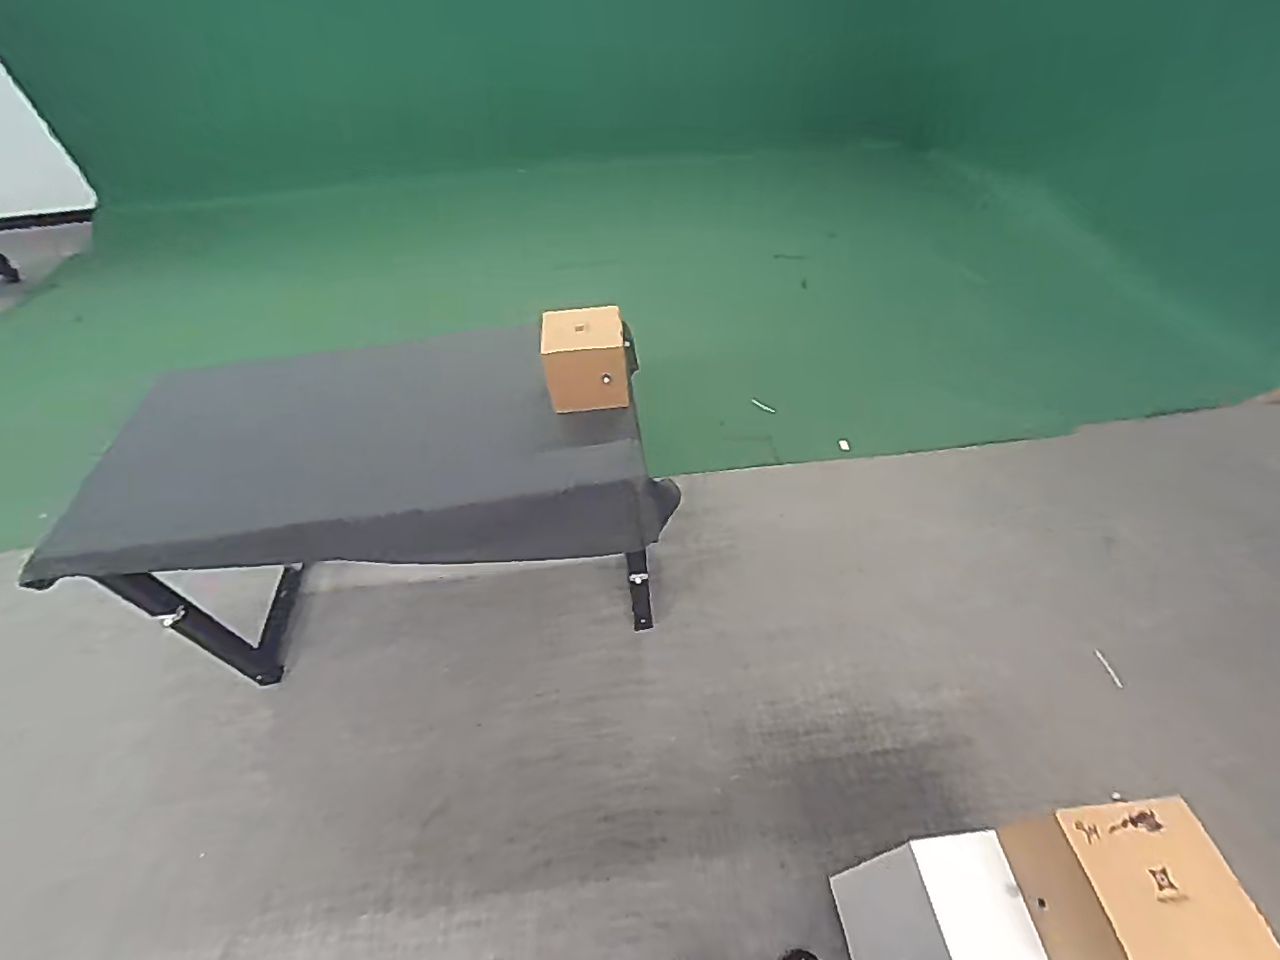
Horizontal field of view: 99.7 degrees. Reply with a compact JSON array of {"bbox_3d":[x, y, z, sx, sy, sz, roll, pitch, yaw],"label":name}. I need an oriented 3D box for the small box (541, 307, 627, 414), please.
[{"bbox_3d":[-0.122,-0.269,1.235,0.179,0.176,0.168,-7,48,0],"label":"small box"}]

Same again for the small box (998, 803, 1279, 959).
[{"bbox_3d":[0.598,0.521,0.673,0.168,0.176,0.179,-6,51,-1],"label":"small box"}]
